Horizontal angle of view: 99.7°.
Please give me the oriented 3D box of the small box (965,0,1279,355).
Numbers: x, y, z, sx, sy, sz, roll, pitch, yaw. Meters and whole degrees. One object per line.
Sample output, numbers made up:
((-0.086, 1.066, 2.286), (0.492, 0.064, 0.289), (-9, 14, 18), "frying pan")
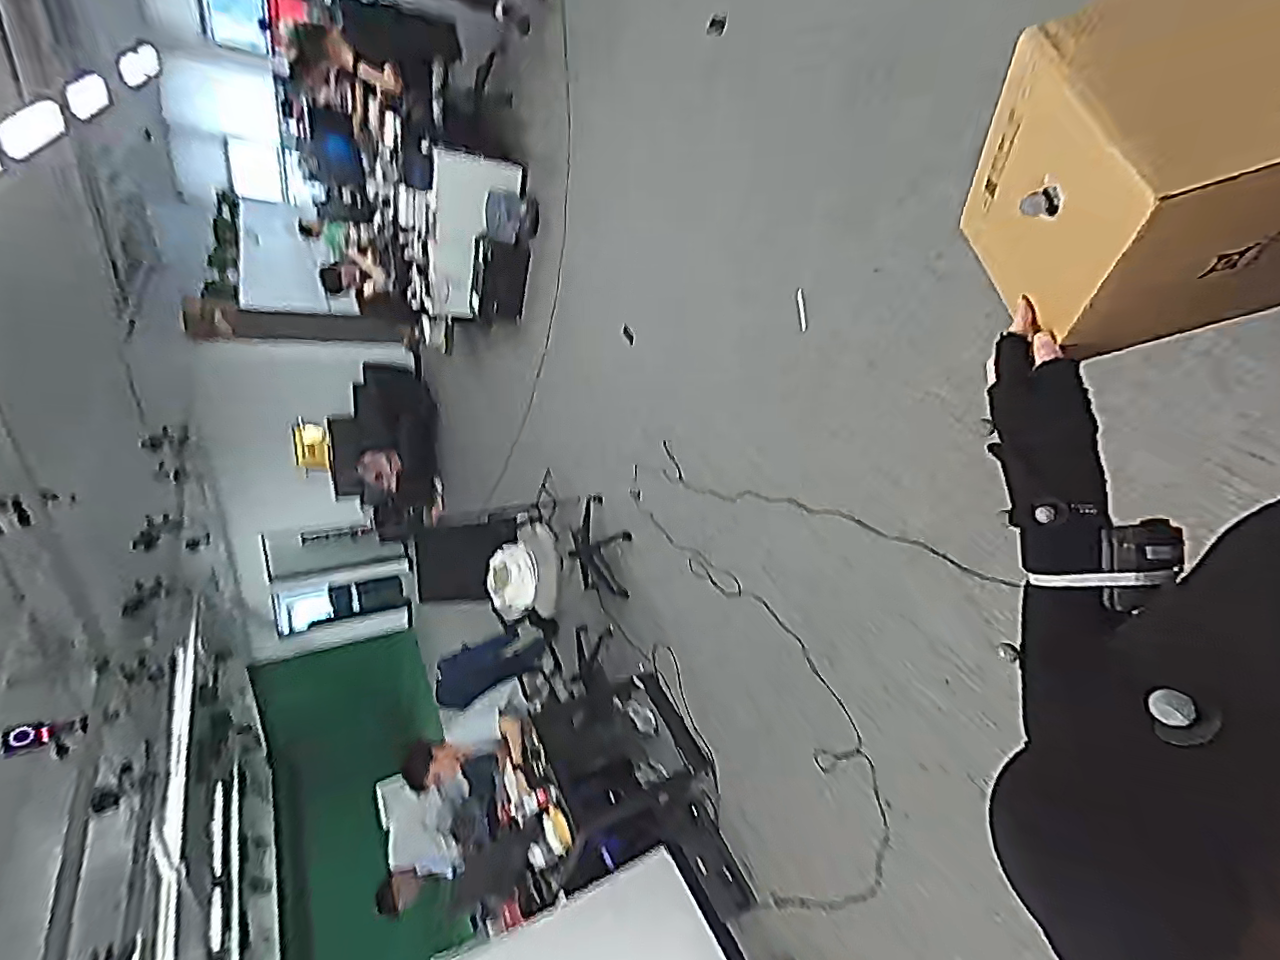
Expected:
((0.360, -0.220, 0.371), (0.168, 0.179, 0.176), (54, -157, -65), "small box")
